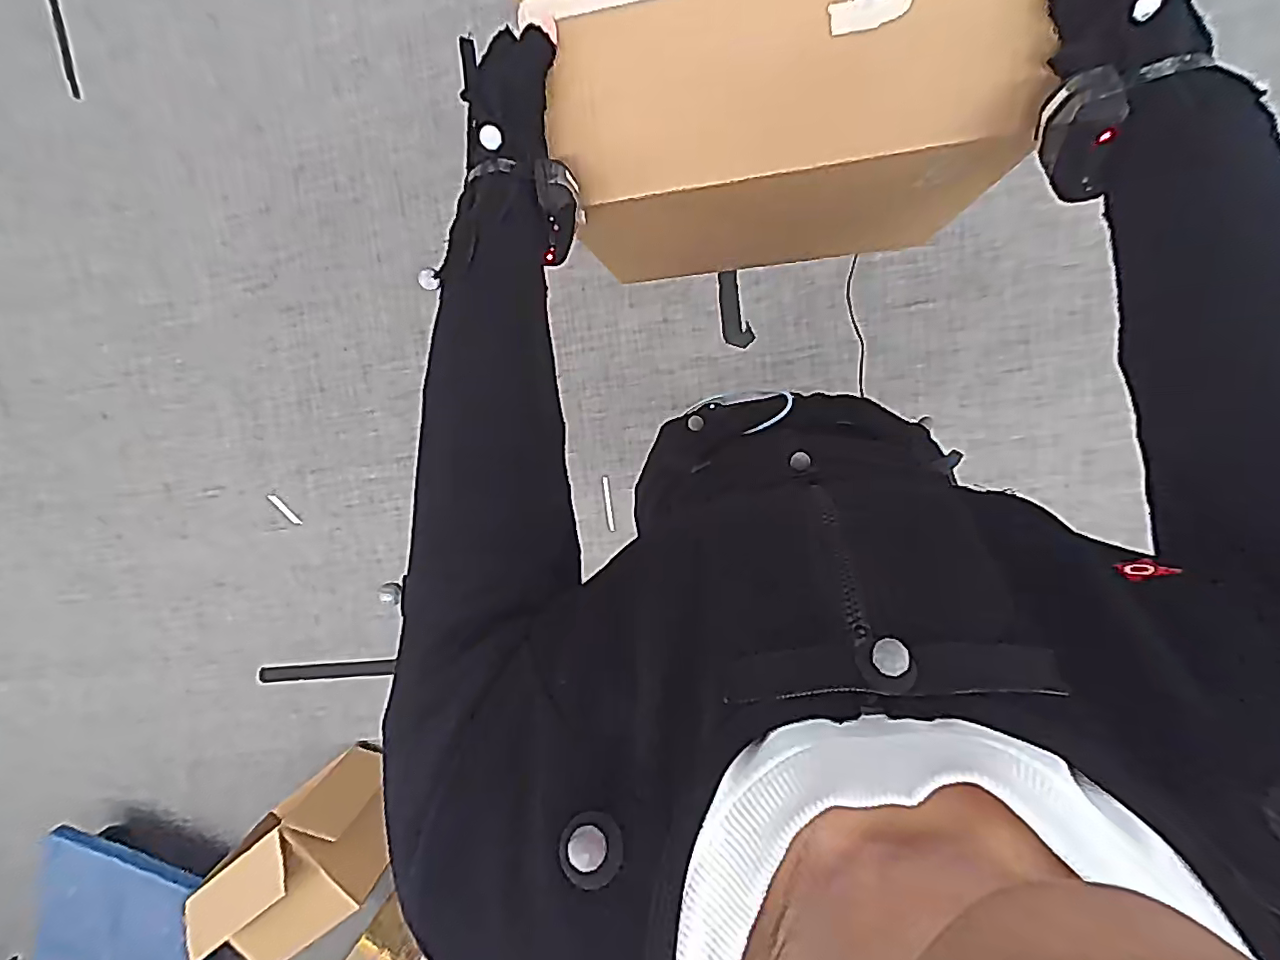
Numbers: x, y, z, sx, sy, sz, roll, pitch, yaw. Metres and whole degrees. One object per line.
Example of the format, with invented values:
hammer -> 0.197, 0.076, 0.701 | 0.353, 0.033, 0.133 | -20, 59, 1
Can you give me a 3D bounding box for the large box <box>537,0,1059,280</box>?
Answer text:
large box -> 0.129, -0.429, 0.571 | 0.408, 0.320, 0.320 | -5, 98, 10
